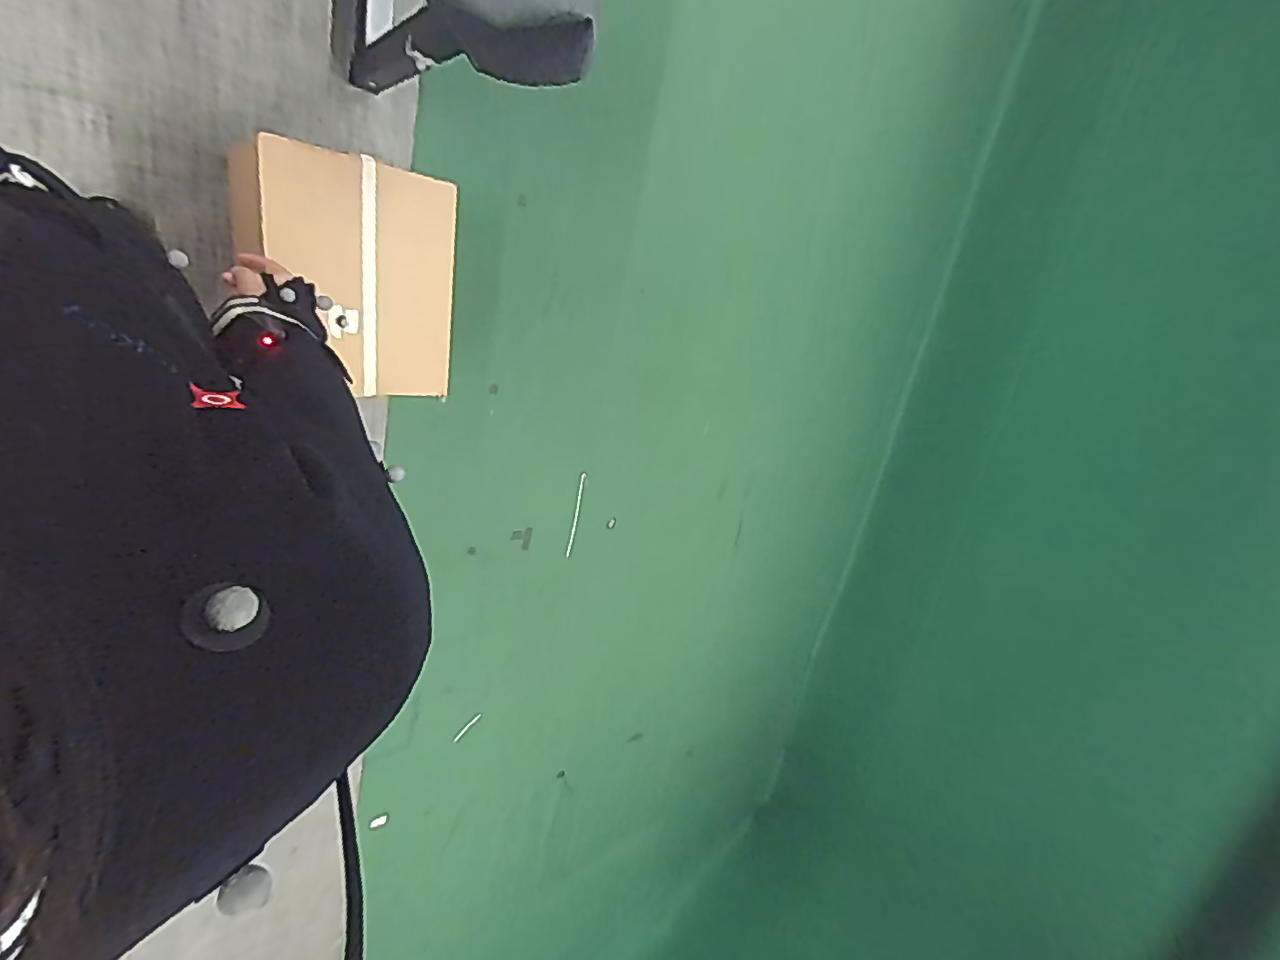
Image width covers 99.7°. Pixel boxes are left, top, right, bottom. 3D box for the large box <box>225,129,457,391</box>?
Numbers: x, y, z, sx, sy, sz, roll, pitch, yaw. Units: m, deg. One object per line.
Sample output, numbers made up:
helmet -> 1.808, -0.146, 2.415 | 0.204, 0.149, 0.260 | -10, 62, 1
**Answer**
large box -> -0.581, -0.407, 1.060 | 0.320, 0.320, 0.408 | -8, 116, -42
